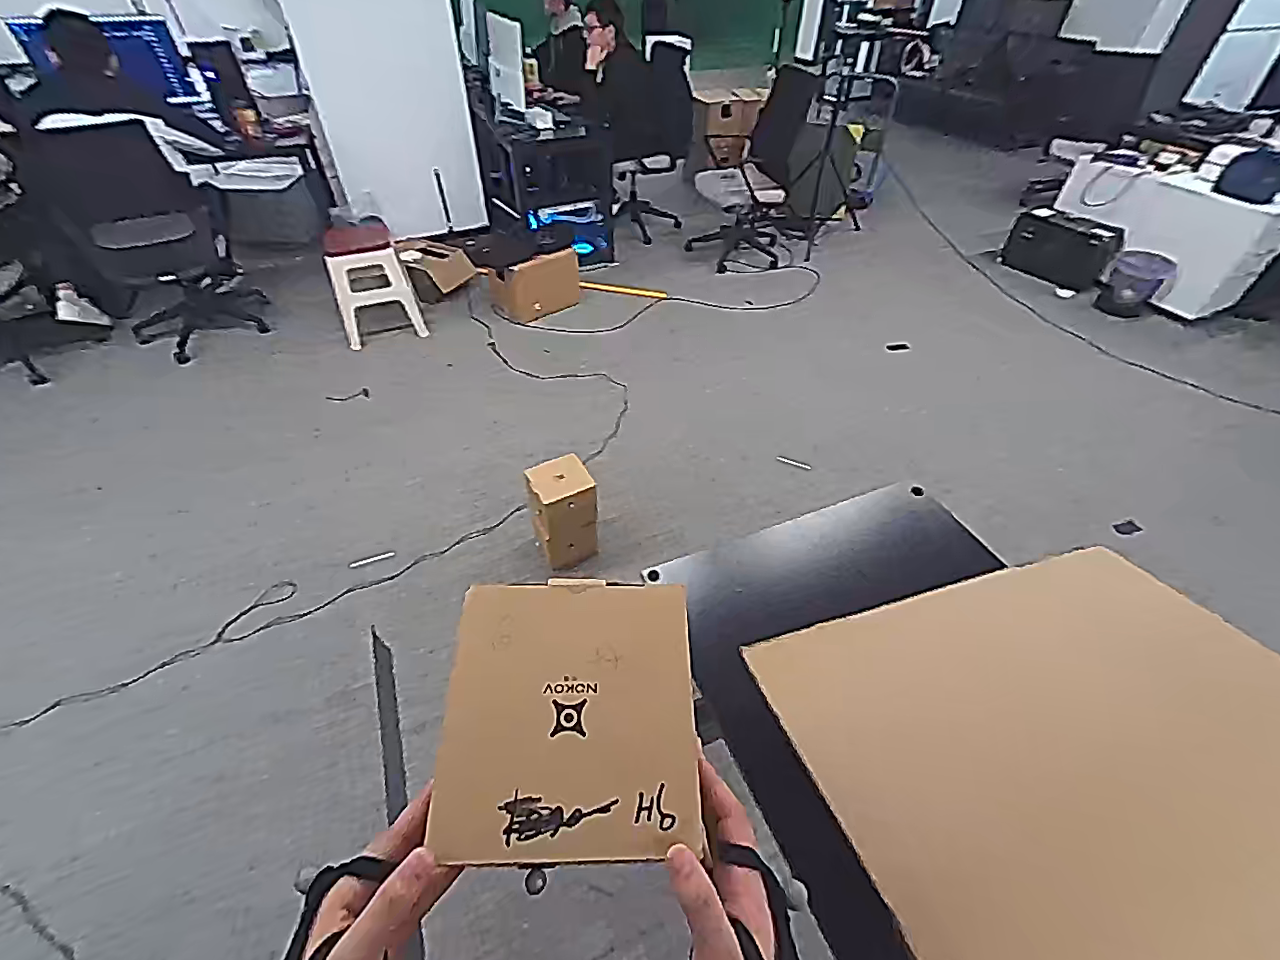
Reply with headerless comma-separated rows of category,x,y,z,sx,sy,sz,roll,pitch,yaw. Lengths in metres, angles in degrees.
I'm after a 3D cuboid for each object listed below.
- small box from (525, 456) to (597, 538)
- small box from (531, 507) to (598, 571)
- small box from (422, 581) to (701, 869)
small box,-0.246,0.058,1.719,0.179,0.176,0.168,-21,50,-22
small box,-0.253,0.175,1.831,0.179,0.176,0.168,-20,49,-19
small box,-0.051,0.196,0.427,0.168,0.176,0.179,-1,54,-3
